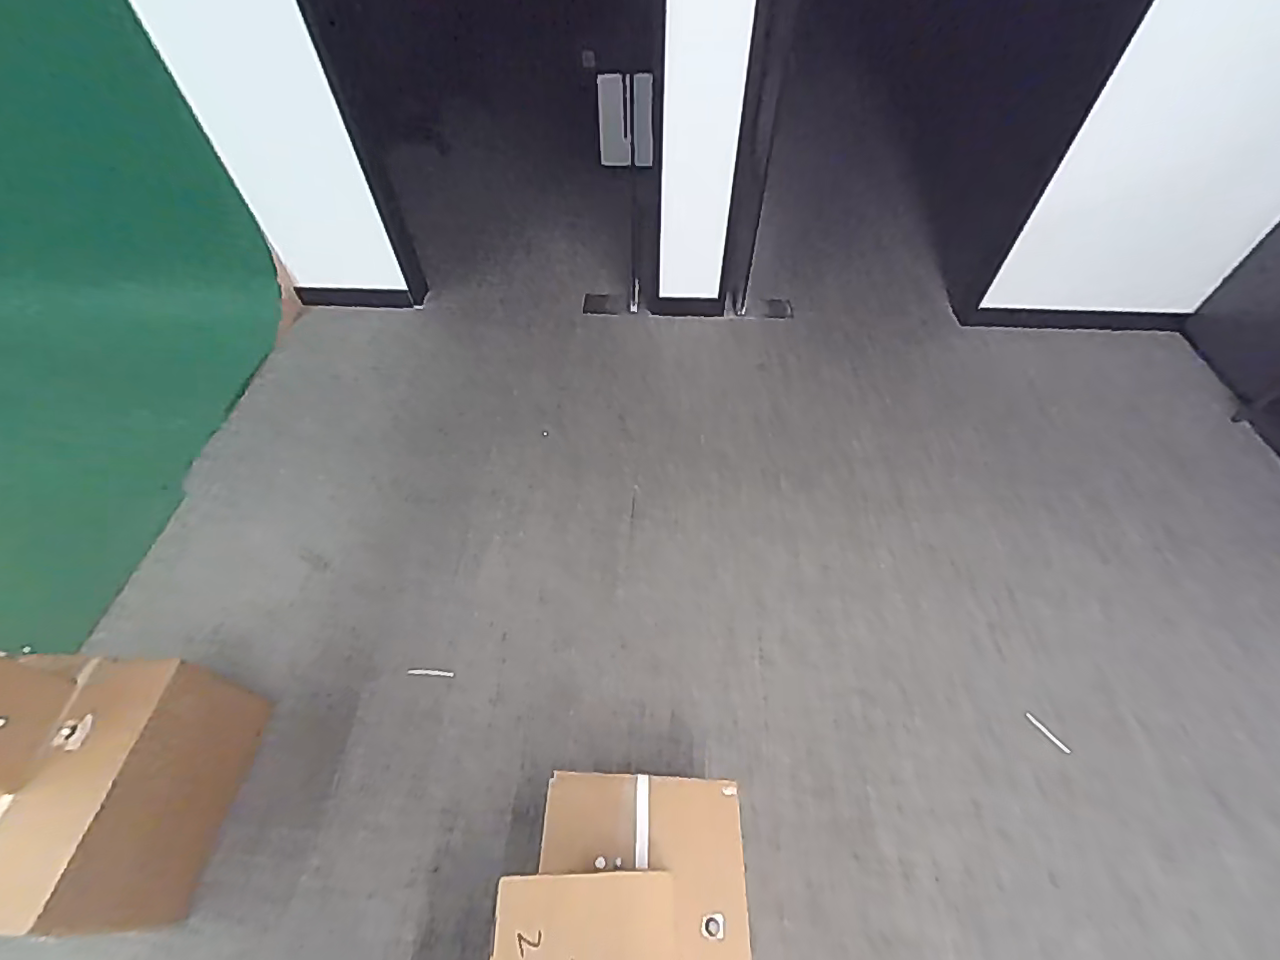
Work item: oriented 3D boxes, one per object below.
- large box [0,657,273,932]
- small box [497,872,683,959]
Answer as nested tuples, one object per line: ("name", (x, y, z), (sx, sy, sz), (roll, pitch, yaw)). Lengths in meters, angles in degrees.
("large box", (-1.002, 0.587, 1.018), (0.320, 0.320, 0.408), (1, 52, 2))
("small box", (-0.045, 0.506, 0.555), (0.179, 0.176, 0.168), (-3, 52, 1))
